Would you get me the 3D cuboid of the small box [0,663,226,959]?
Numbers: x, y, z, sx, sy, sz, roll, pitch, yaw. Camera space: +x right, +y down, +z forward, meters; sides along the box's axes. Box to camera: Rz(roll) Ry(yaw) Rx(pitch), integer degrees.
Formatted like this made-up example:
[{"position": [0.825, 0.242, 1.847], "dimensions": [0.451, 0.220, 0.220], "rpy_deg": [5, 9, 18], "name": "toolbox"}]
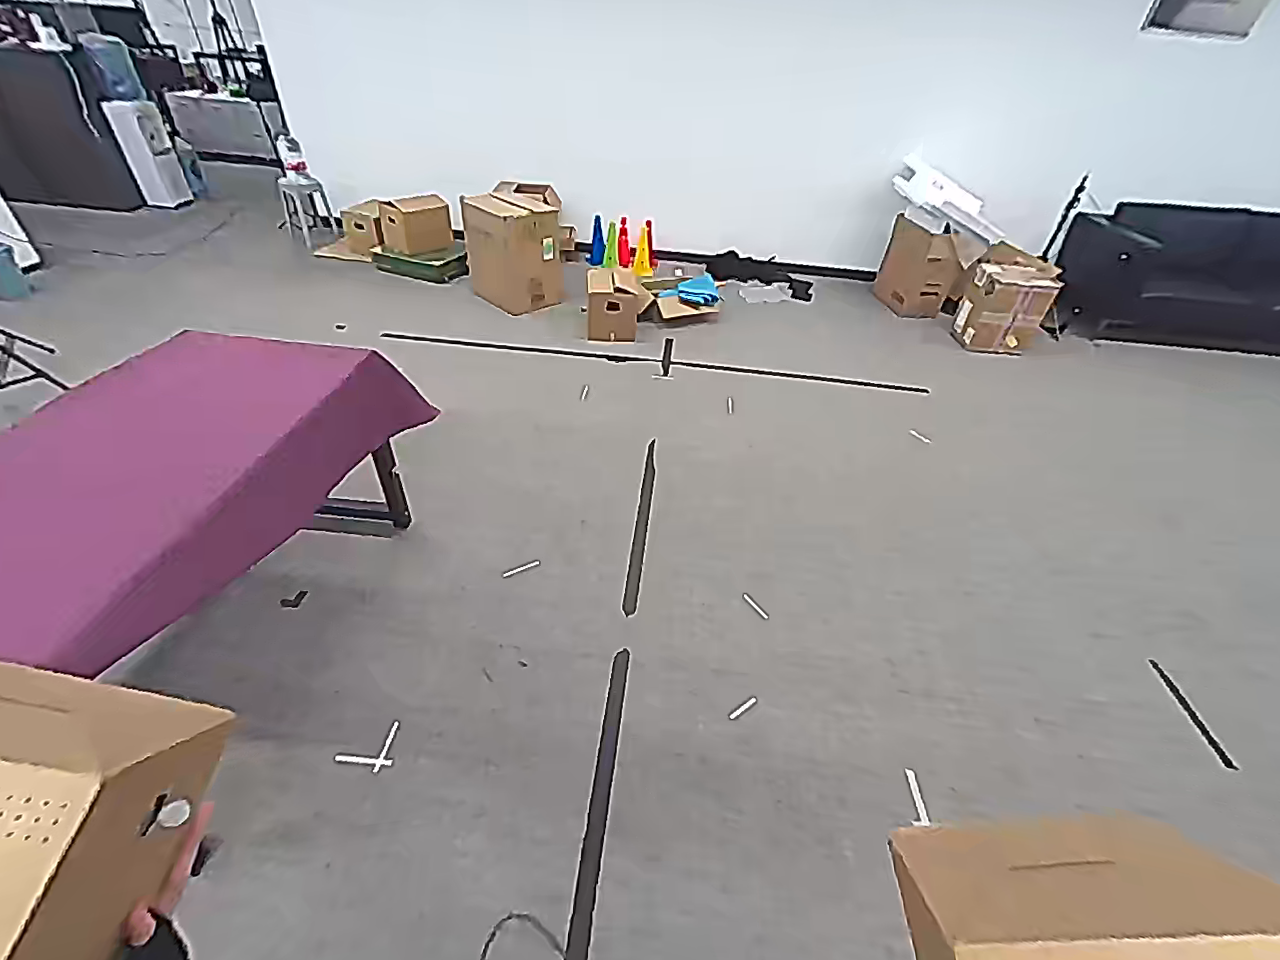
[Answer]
[{"position": [-0.350, 0.187, 0.257], "dimensions": [0.168, 0.179, 0.176], "rpy_deg": [21, 70, -14], "name": "small box"}]
